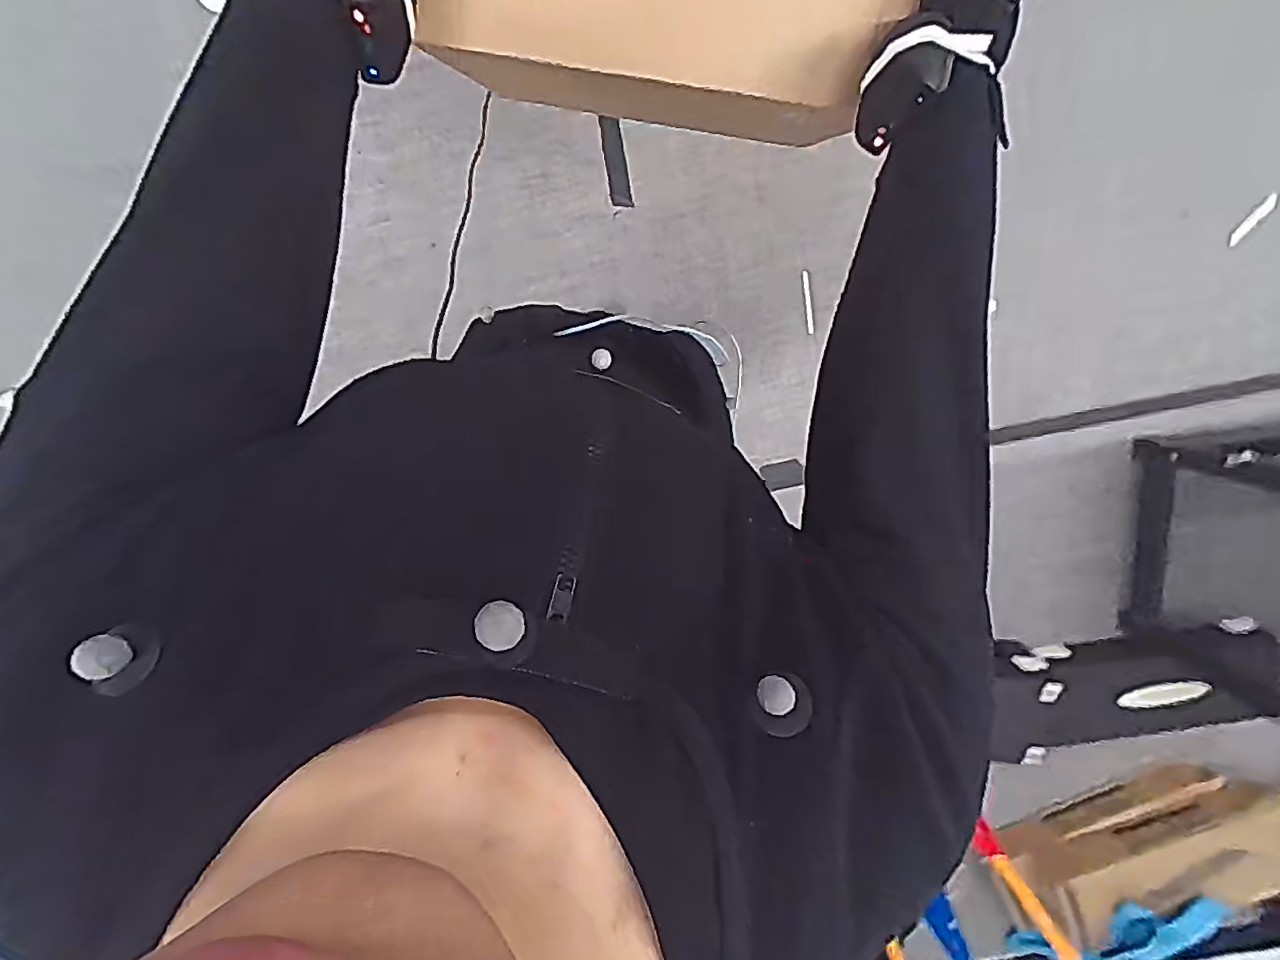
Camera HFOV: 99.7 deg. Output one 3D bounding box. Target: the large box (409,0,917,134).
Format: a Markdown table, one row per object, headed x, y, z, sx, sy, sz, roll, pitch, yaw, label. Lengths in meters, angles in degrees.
| x | y | z | sx | sy | sz | roll | pitch | yaw | label |
| --- | --- | --- | --- | --- | --- | --- | --- | --- | --- |
| 0.028 | -0.535 | 0.502 | 0.408 | 0.320 | 0.320 | 6 | 119 | -3 | large box |
